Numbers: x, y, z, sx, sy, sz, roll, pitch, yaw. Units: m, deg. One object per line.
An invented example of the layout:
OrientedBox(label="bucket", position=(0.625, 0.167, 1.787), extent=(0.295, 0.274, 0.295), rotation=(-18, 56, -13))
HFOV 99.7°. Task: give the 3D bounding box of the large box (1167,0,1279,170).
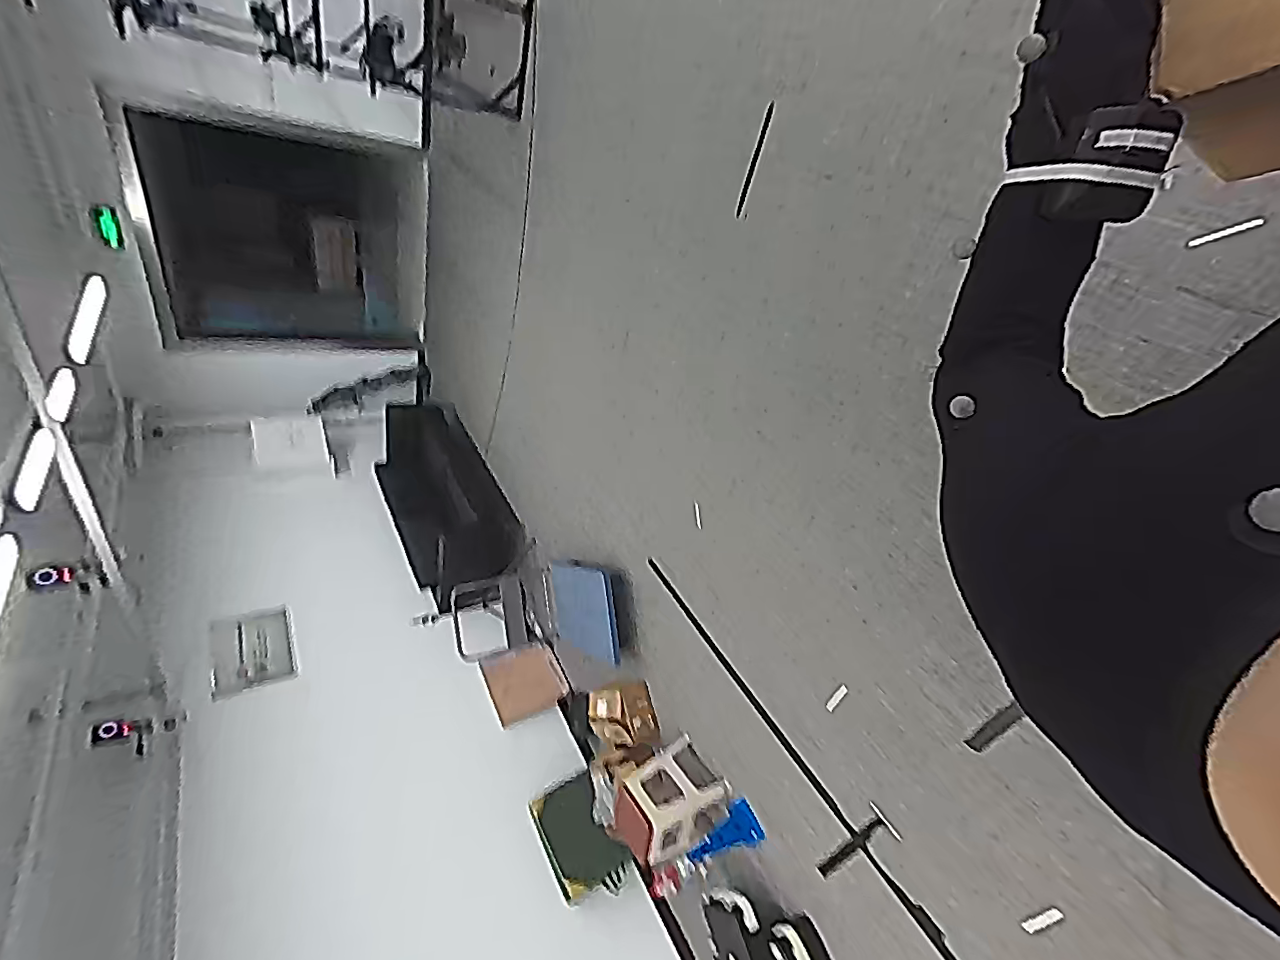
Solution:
OrientedBox(label="large box", position=(0.569, -0.412, 0.265), extent=(0.408, 0.320, 0.320), rotation=(9, 106, 52))
